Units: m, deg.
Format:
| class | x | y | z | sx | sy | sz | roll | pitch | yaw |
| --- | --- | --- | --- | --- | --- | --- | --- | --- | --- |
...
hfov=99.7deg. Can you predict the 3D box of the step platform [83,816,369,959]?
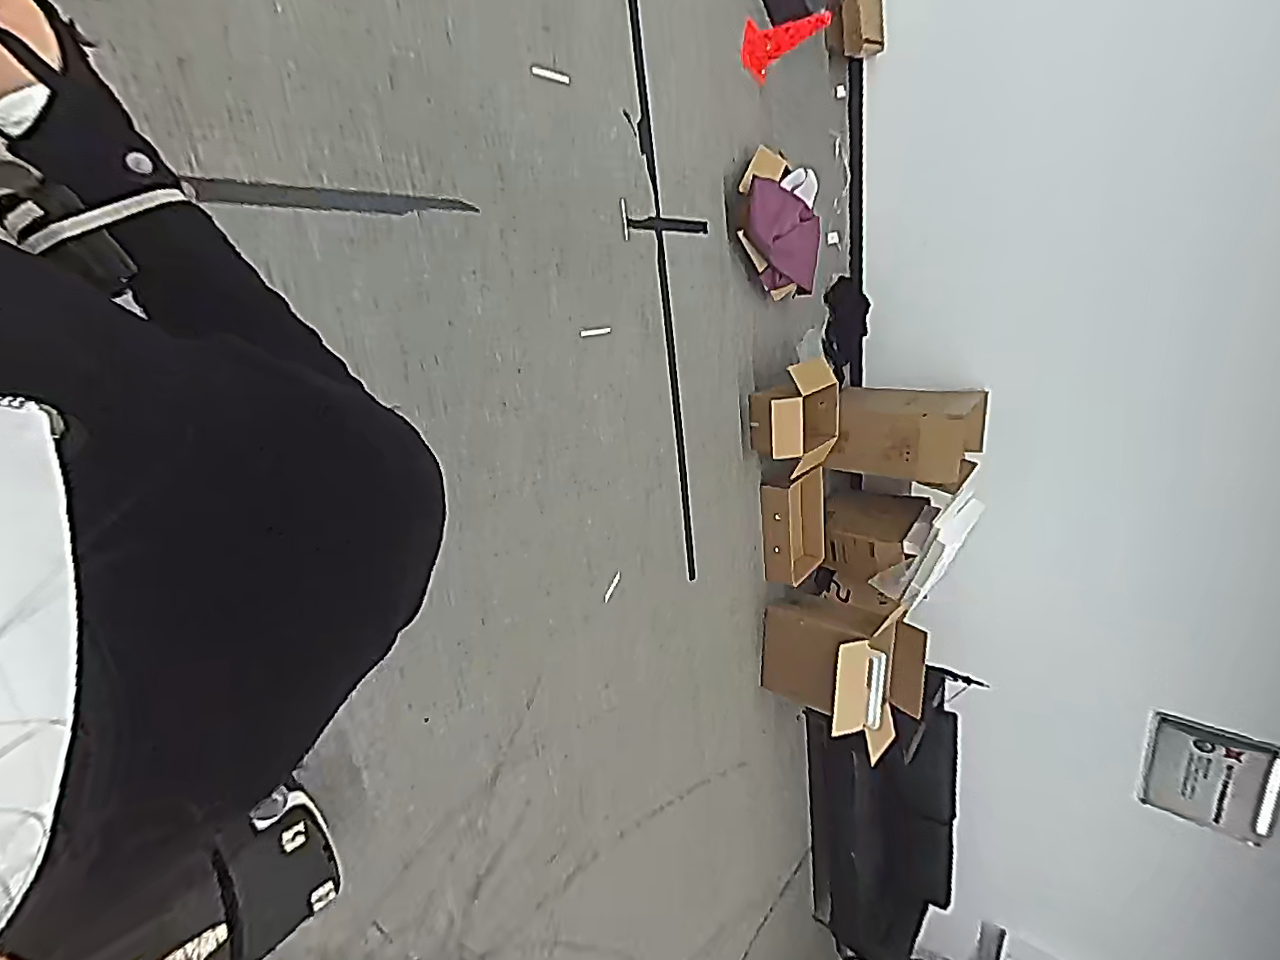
| class | x | y | z | sx | sy | sz | roll | pitch | yaw |
| --- | --- | --- | --- | --- | --- | --- | --- | --- | --- |
| step platform | -0.900 | 0.990 | 1.002 | 0.684 | 0.204 | 0.286 | -26 | 116 | -42 |
